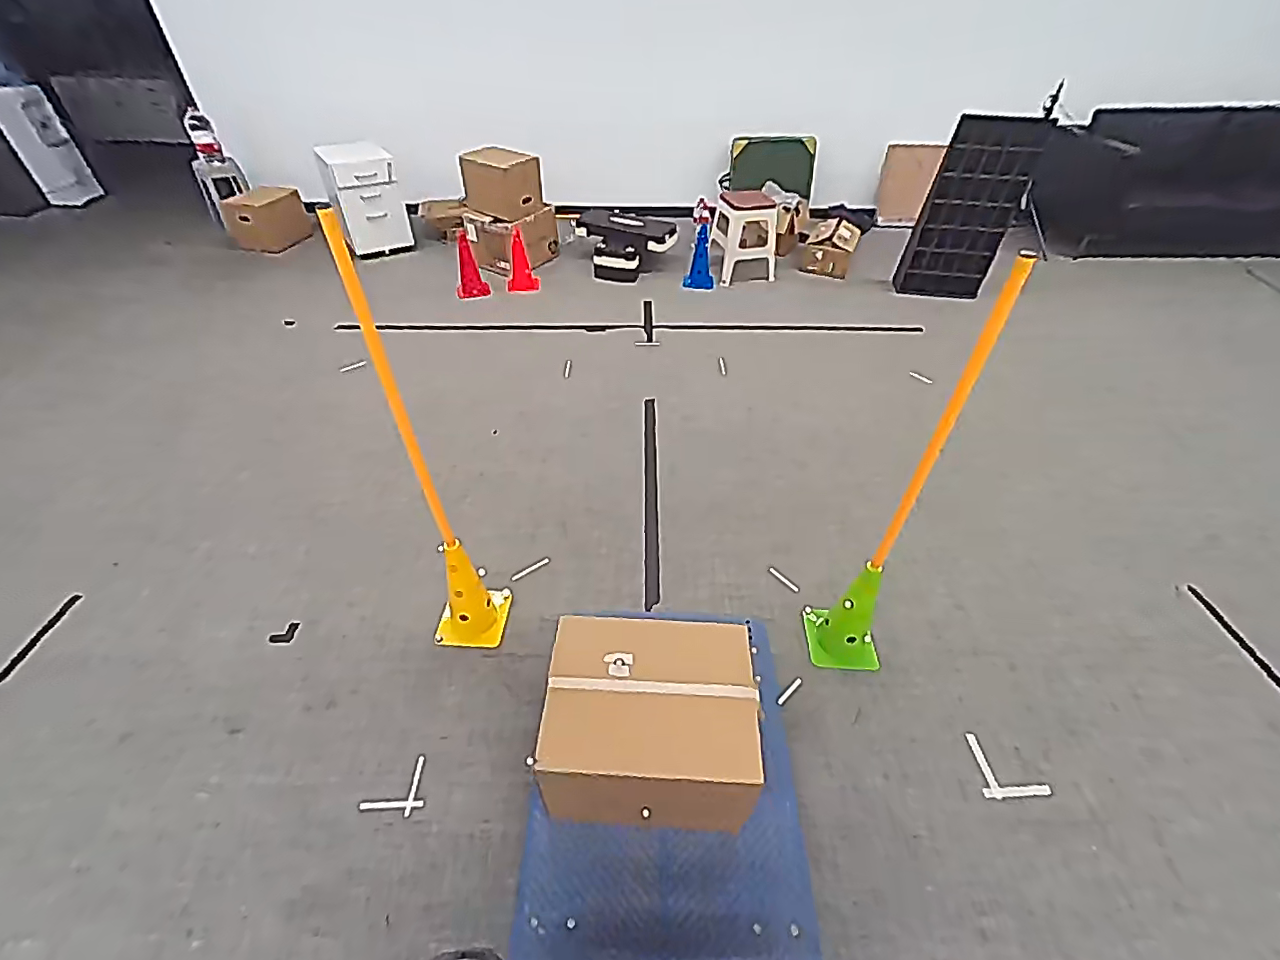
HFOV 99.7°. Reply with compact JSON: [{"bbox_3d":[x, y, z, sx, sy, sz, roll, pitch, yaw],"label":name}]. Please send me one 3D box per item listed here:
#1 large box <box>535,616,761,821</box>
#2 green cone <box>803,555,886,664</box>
[{"bbox_3d":[0.020,0.511,1.155,0.408,0.320,0.320,2,44,2],"label":"large box"},{"bbox_3d":[0.619,0.348,1.551,0.202,0.368,0.200,4,43,1],"label":"green cone"}]
